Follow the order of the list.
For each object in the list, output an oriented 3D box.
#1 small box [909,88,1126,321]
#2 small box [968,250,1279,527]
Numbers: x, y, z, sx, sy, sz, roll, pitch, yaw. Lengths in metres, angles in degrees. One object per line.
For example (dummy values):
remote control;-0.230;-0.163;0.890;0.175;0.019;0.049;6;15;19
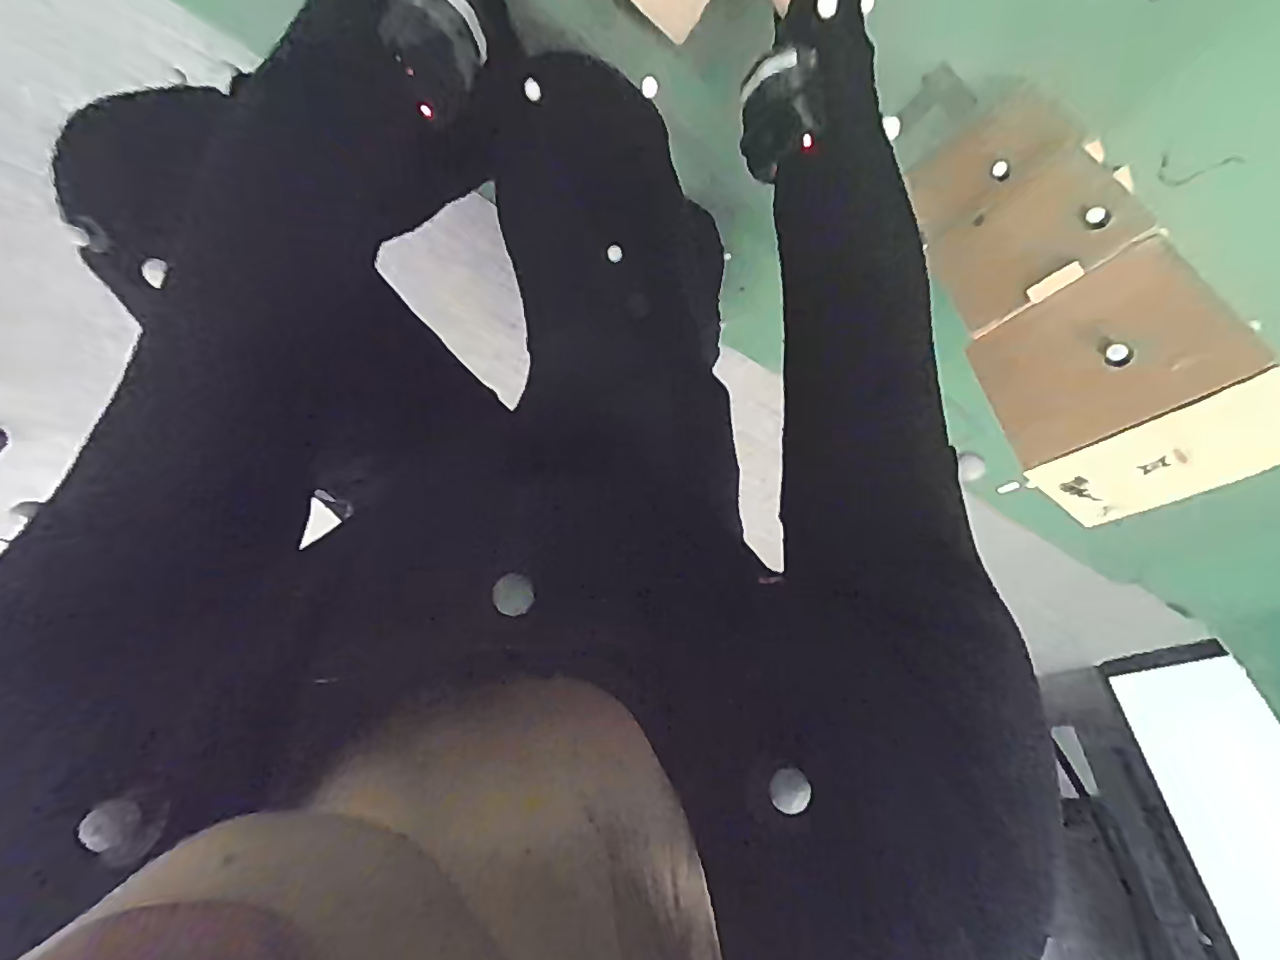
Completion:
small box;0.481;-0.356;0.714;0.168;0.176;0.179;28;137;-34
small box;0.468;-0.082;0.530;0.168;0.176;0.179;24;138;-32
